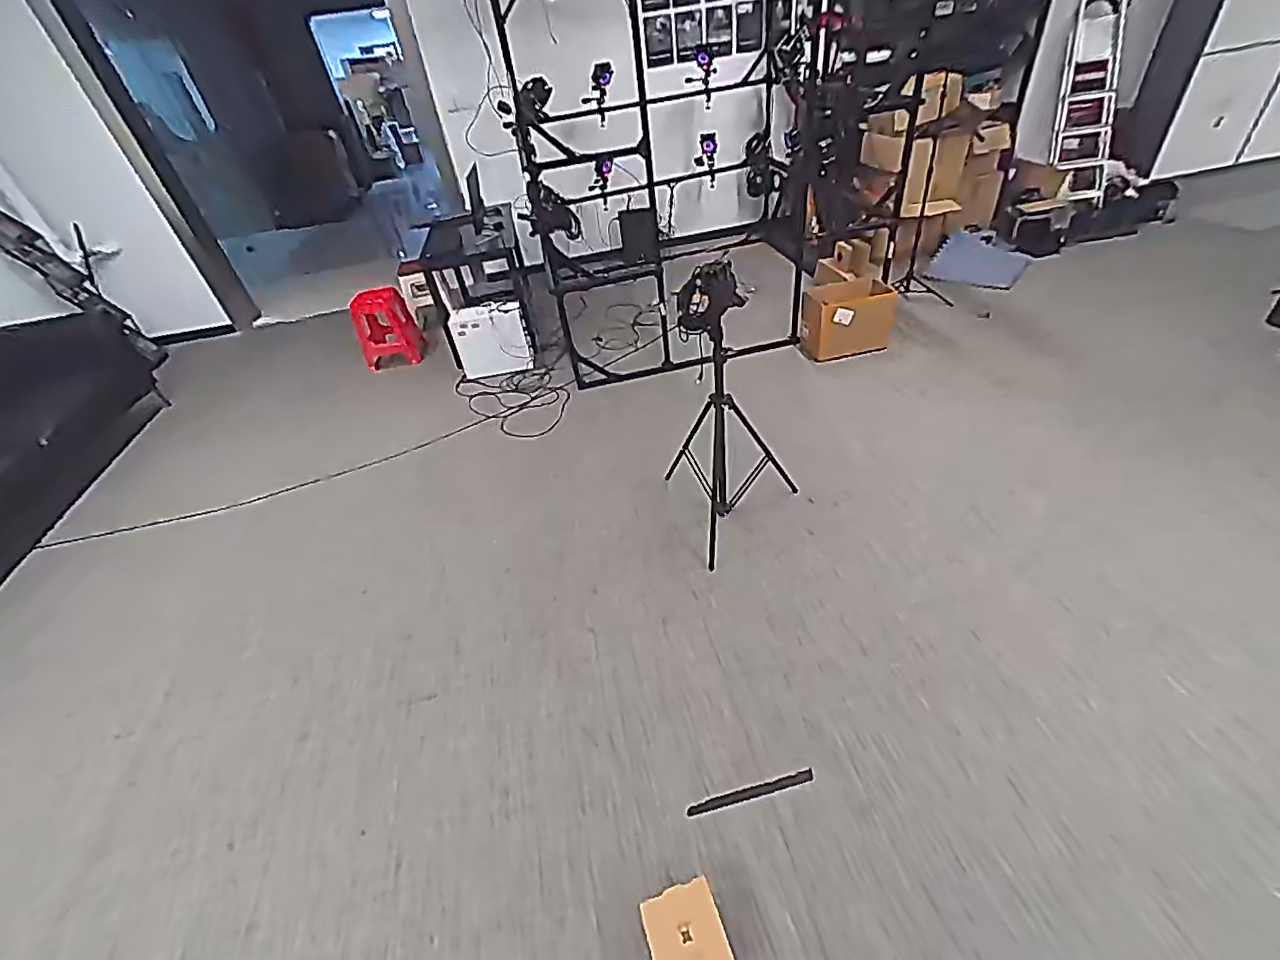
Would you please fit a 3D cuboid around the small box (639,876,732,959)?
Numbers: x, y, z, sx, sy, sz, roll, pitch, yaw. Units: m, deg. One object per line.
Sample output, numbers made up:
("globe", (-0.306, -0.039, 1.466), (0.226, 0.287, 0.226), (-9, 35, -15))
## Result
("small box", (0.106, 1.052, 1.227), (0.168, 0.176, 0.179), (-17, 40, -9))
